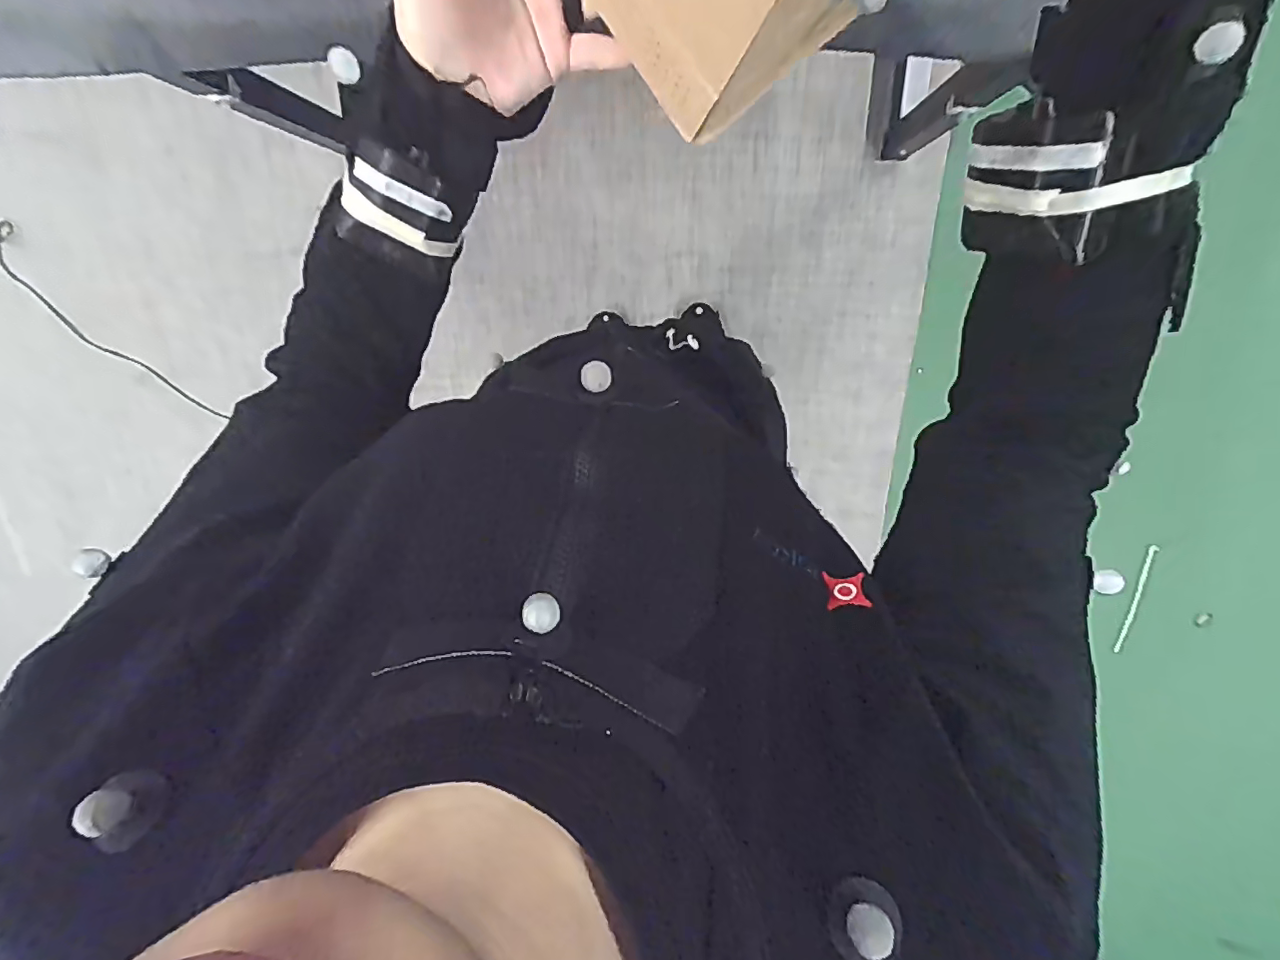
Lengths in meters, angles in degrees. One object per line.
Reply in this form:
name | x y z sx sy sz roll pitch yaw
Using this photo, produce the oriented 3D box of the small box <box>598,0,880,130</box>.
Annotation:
small box | 0.047 -0.261 0.162 0.168 0.176 0.179 -41 104 -1
